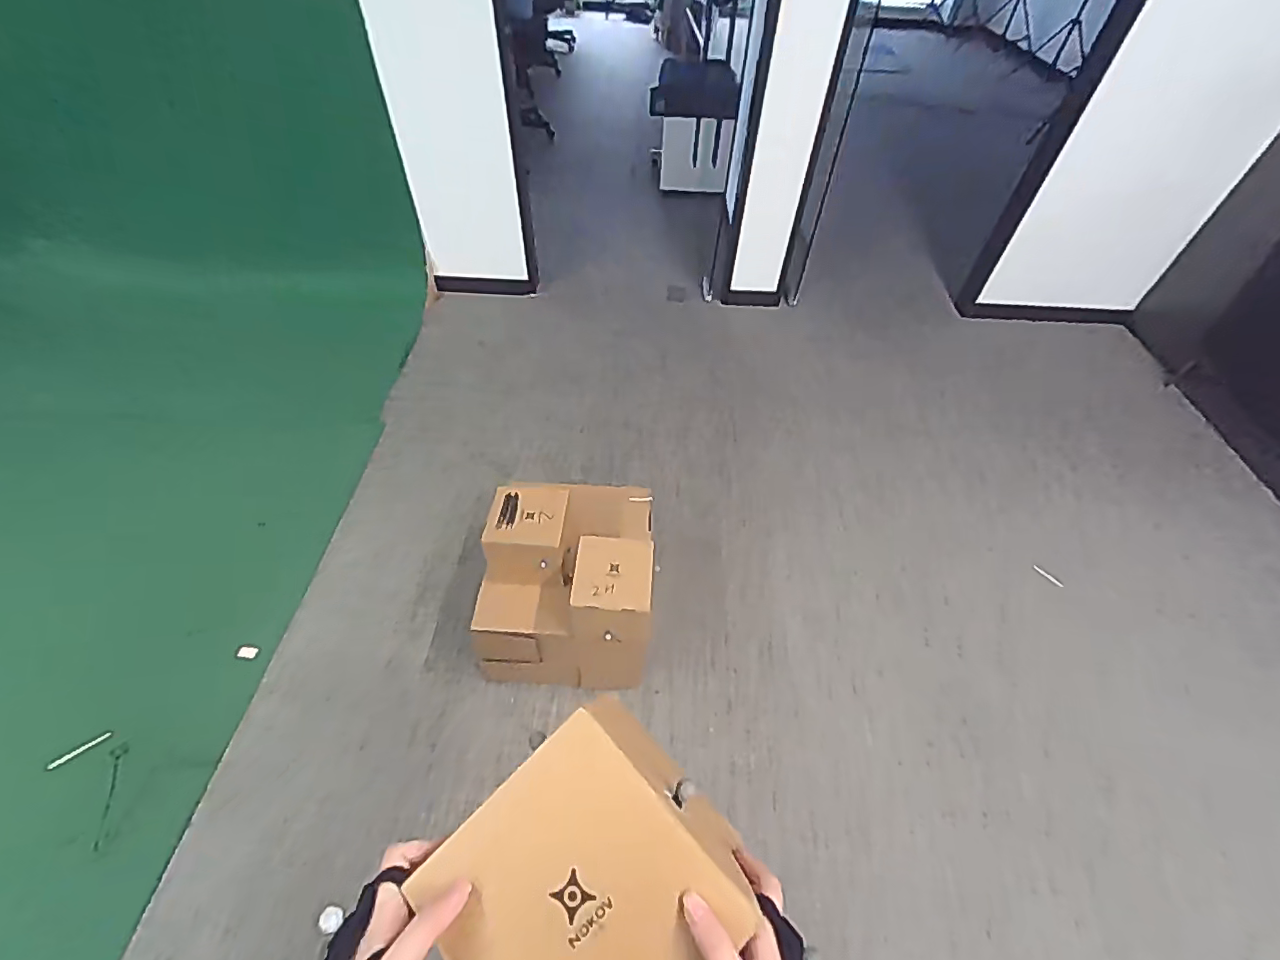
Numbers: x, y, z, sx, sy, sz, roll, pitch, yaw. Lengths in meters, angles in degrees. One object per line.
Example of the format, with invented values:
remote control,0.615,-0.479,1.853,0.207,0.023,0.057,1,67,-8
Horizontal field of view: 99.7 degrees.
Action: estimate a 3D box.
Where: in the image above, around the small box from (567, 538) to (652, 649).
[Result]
small box,-0.066,0.254,1.204,0.168,0.176,0.179,5,49,0
